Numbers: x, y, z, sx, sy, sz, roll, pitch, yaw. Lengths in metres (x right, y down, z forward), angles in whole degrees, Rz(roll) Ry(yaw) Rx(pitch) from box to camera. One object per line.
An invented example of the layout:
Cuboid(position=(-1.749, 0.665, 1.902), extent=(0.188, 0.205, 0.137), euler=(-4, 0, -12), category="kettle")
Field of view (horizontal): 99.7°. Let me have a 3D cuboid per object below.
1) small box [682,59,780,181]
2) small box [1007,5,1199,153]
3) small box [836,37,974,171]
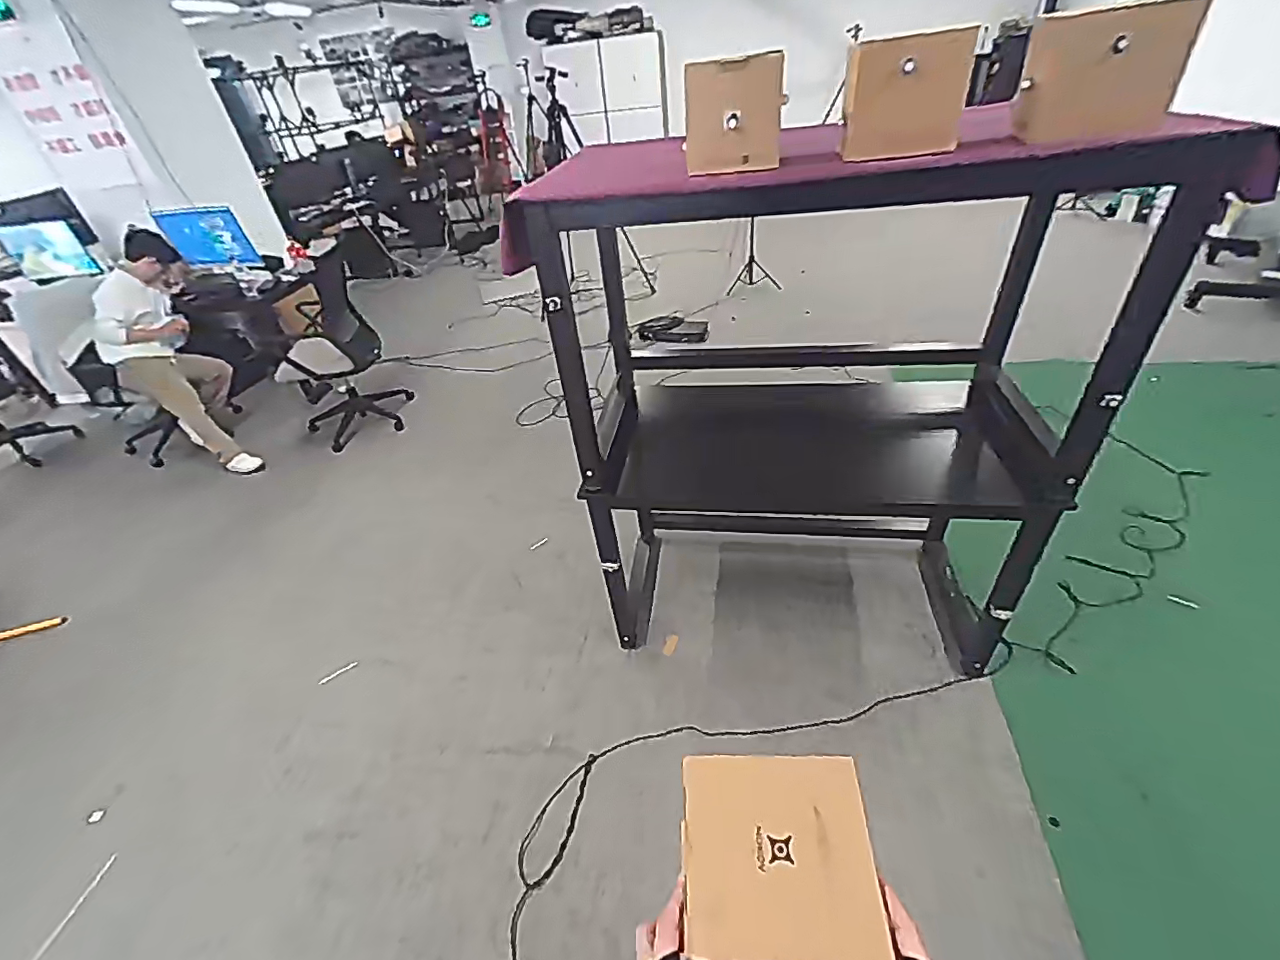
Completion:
Cuboid(position=(0.173, -0.664, 1.006), extent=(0.168, 0.176, 0.179), euler=(1, 38, 11), category="small box")
Cuboid(position=(0.730, -0.648, 0.884), extent=(0.179, 0.176, 0.168), euler=(3, 40, 15), category="small box")
Cuboid(position=(0.450, -0.657, 0.949), extent=(0.179, 0.176, 0.168), euler=(1, 37, 13), category="small box")
